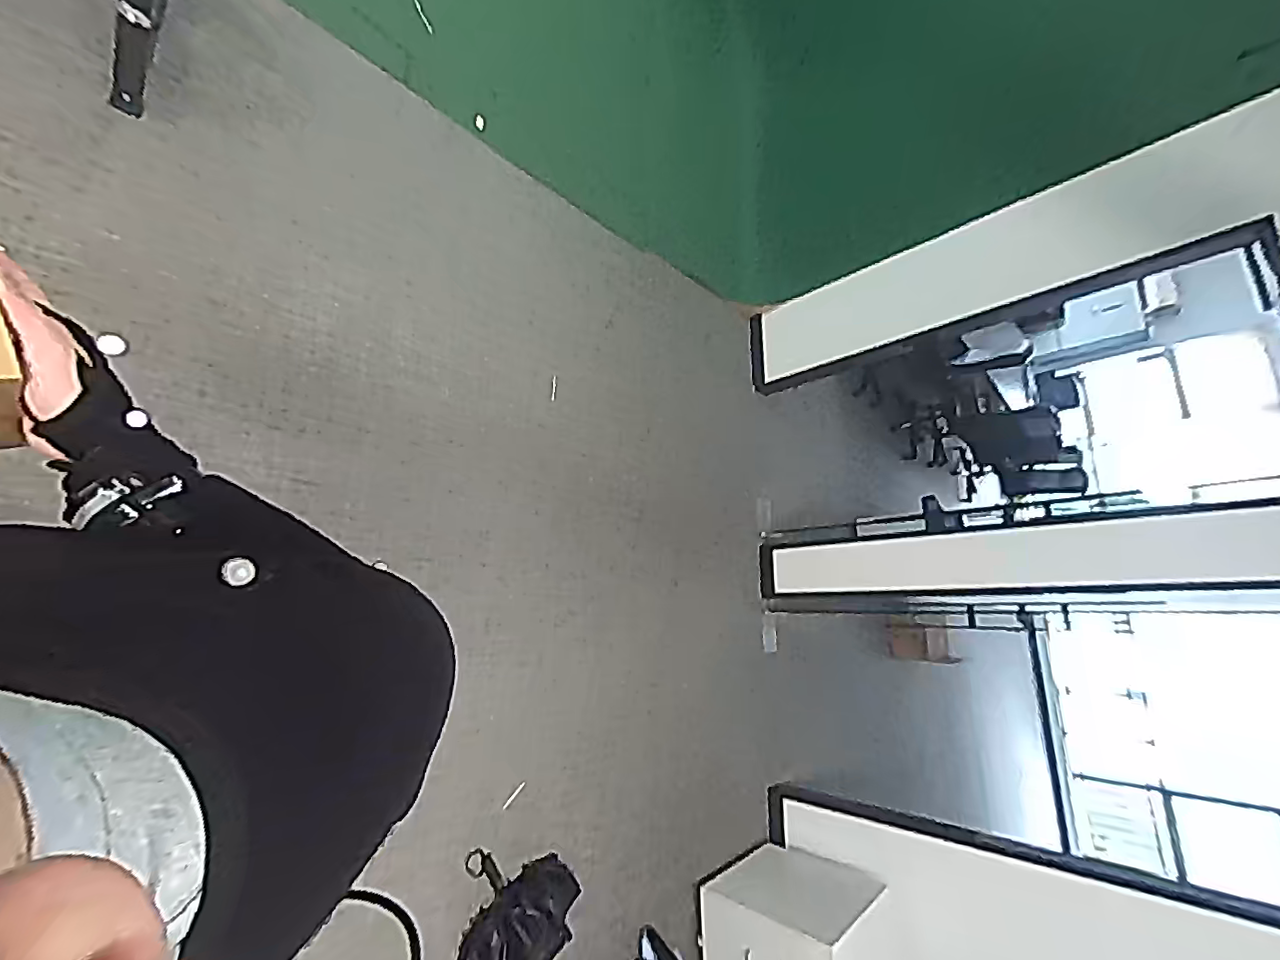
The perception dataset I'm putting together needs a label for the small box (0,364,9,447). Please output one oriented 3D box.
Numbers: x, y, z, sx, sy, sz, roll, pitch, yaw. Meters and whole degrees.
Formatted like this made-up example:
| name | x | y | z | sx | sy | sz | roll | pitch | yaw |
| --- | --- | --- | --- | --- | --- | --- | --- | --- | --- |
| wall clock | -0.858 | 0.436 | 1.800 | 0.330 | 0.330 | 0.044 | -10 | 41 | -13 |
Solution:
| name | x | y | z | sx | sy | sz | roll | pitch | yaw |
| --- | --- | --- | --- | --- | --- | --- | --- | --- | --- |
| small box | -0.550 | -0.107 | 0.342 | 0.168 | 0.176 | 0.179 | -20 | 92 | -50 |
